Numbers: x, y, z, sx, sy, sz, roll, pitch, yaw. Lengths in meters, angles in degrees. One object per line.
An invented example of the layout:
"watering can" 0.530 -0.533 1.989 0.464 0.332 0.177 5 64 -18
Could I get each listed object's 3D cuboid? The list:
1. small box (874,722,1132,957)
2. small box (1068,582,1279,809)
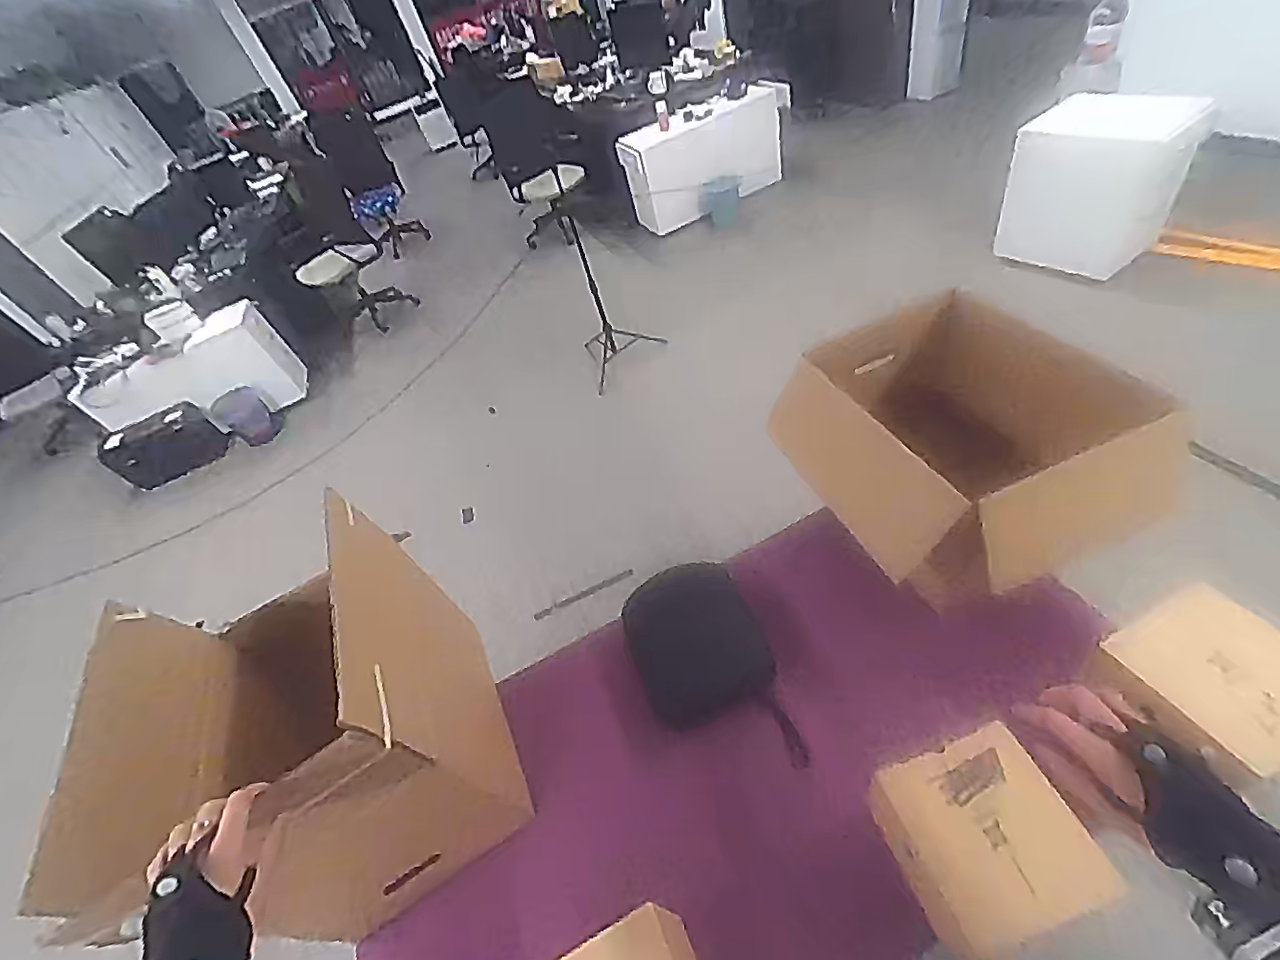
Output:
"small box" 0.396 0.423 0.635 0.168 0.176 0.179 -22 46 -1
"small box" 0.688 0.267 0.670 0.168 0.176 0.179 -28 45 -5
